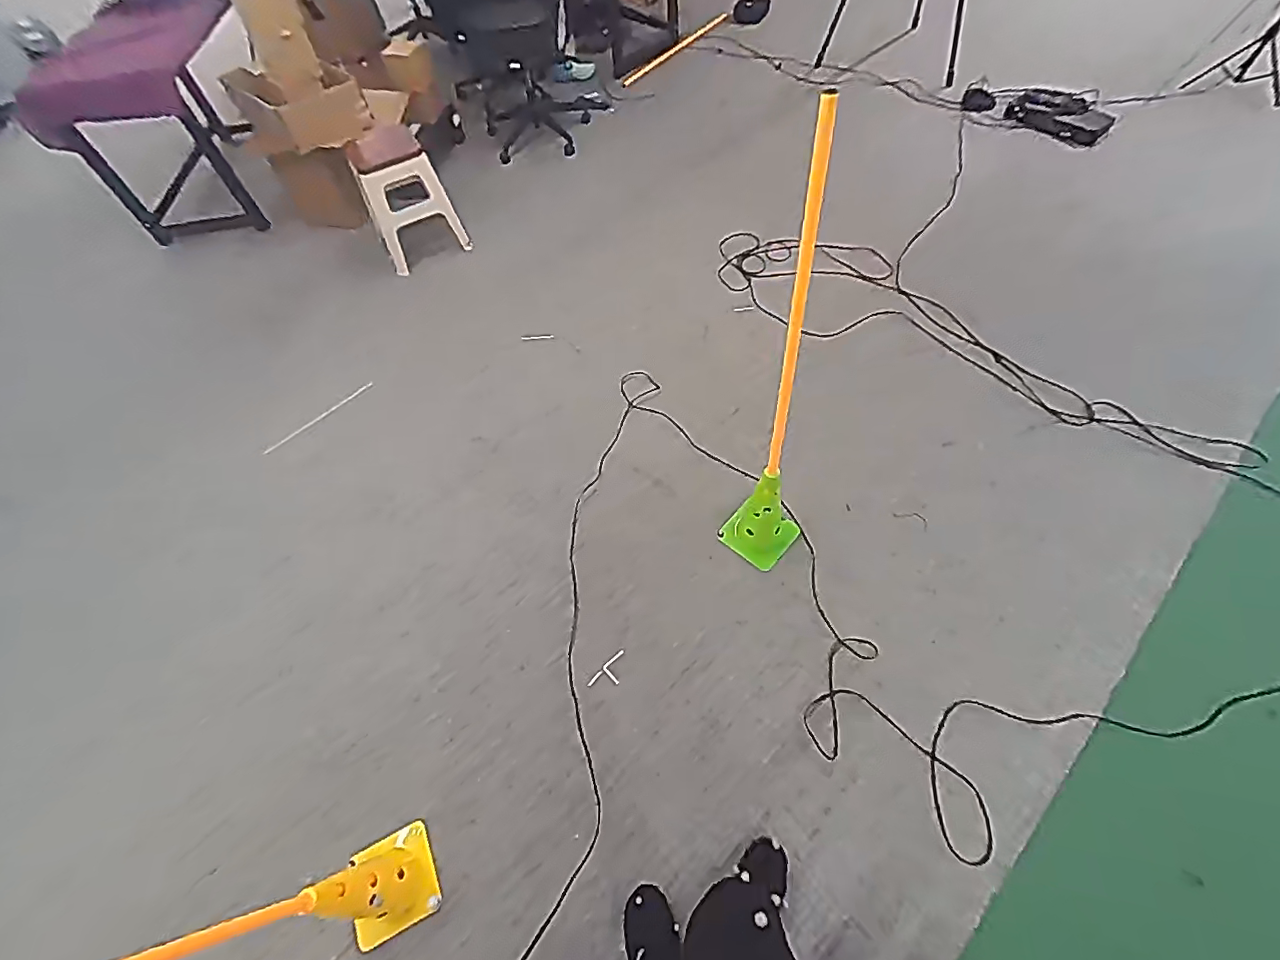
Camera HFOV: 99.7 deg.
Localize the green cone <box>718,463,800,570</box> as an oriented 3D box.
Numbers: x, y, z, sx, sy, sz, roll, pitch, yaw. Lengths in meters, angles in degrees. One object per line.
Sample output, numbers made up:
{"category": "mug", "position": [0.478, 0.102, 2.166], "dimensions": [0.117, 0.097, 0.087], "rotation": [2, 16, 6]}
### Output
{"category": "green cone", "position": [0.364, 0.074, 1.563], "dimensions": [0.200, 0.368, 0.202], "rotation": [36, 66, 24]}
